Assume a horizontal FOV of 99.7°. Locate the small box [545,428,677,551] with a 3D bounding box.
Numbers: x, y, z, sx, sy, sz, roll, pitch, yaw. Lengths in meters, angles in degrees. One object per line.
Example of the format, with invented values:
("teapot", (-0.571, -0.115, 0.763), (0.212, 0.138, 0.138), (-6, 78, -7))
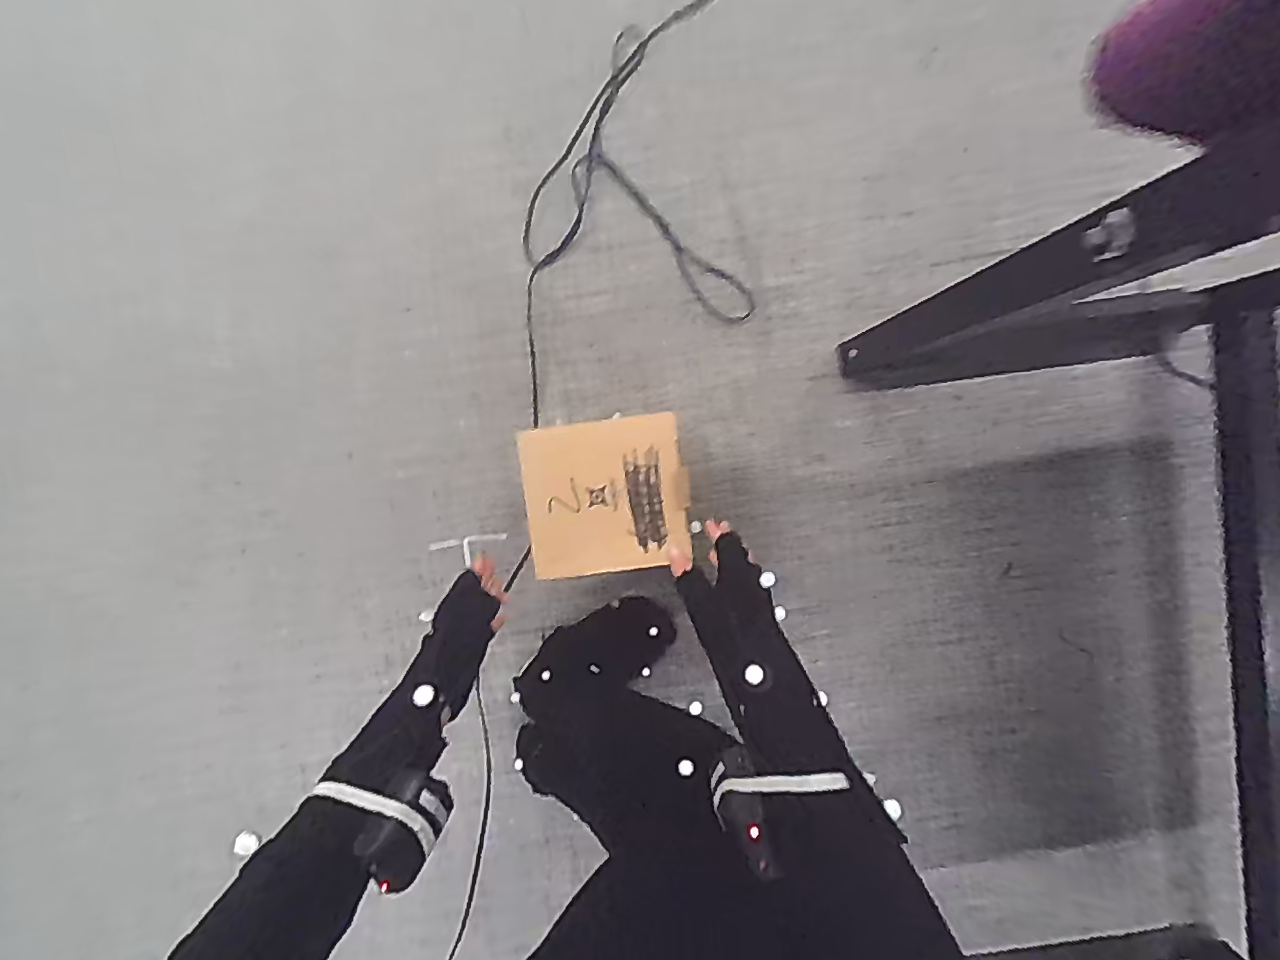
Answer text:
("small box", (-0.041, 0.009, 0.837), (0.179, 0.176, 0.168), (-5, 92, 1))
